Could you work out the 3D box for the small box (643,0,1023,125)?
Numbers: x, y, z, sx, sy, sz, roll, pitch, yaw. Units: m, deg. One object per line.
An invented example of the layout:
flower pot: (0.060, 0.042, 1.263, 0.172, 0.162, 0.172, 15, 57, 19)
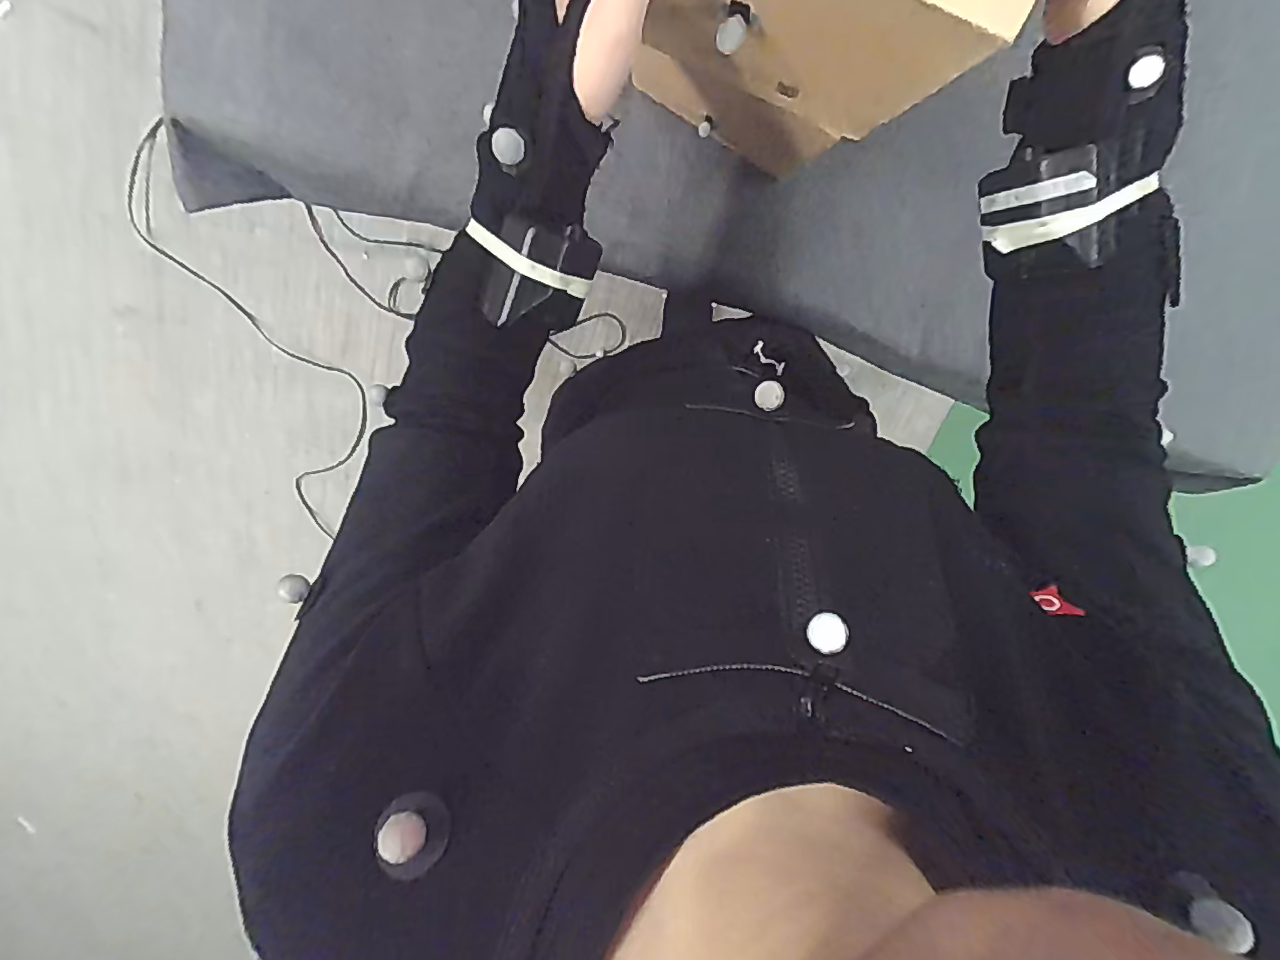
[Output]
small box: (0.099, -0.302, 0.249, 0.168, 0.176, 0.179, 20, 109, -6)
